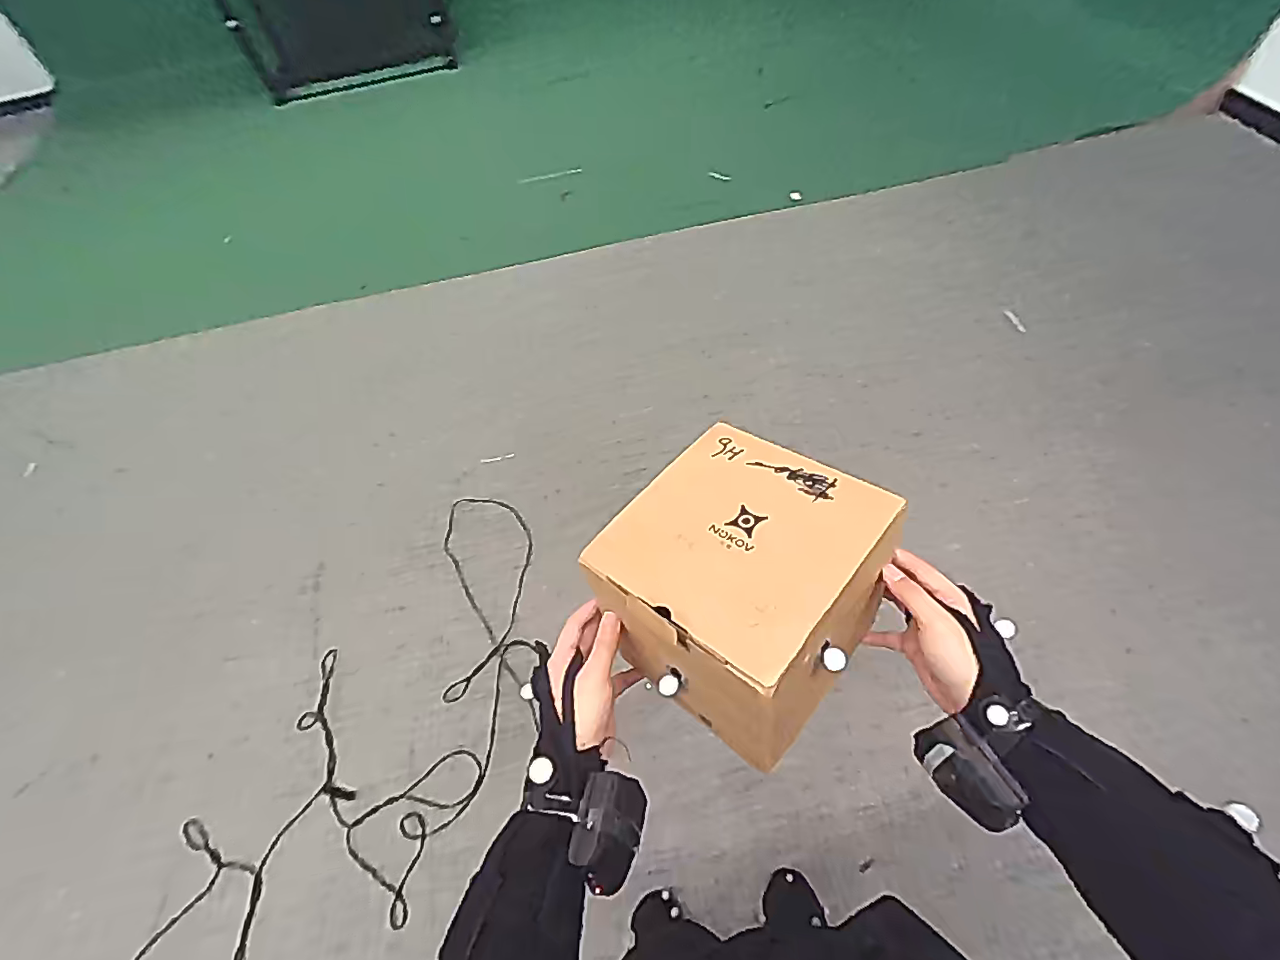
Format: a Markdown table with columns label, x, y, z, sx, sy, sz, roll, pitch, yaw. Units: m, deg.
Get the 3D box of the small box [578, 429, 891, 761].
| label | x | y | z | sx | sy | sz | roll | pitch | yaw |
| --- | --- | --- | --- | --- | --- | --- | --- | --- | --- |
| small box | 0.082 | 0.095 | 0.451 | 0.168 | 0.176 | 0.179 | 28 | 60 | 33 |
